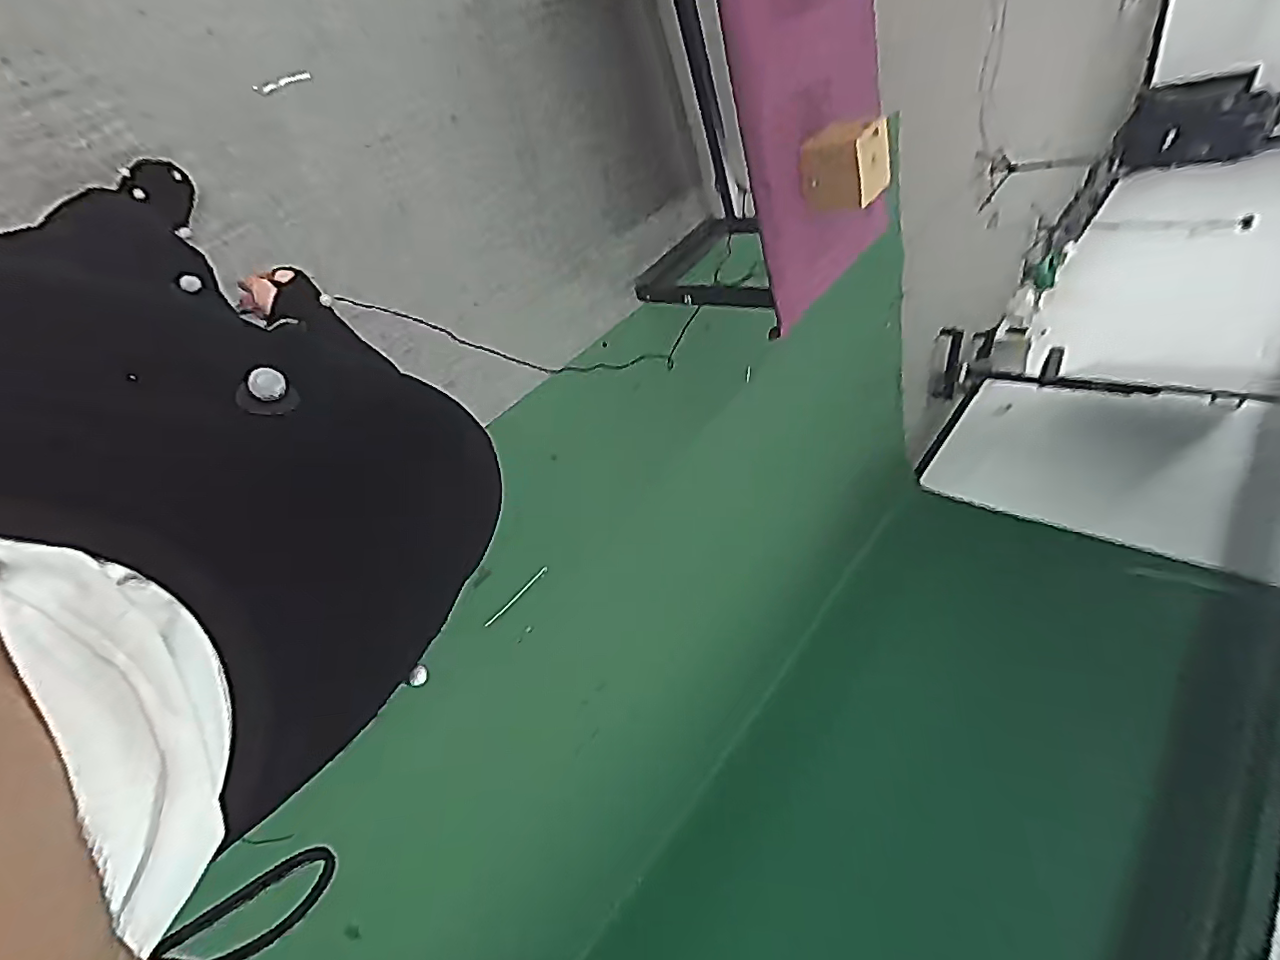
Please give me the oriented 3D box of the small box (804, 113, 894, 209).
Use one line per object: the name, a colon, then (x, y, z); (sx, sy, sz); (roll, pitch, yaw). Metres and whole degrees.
small box: (0.572, -0.865, 1.480); (0.168, 0.176, 0.179); (-46, 133, -23)
